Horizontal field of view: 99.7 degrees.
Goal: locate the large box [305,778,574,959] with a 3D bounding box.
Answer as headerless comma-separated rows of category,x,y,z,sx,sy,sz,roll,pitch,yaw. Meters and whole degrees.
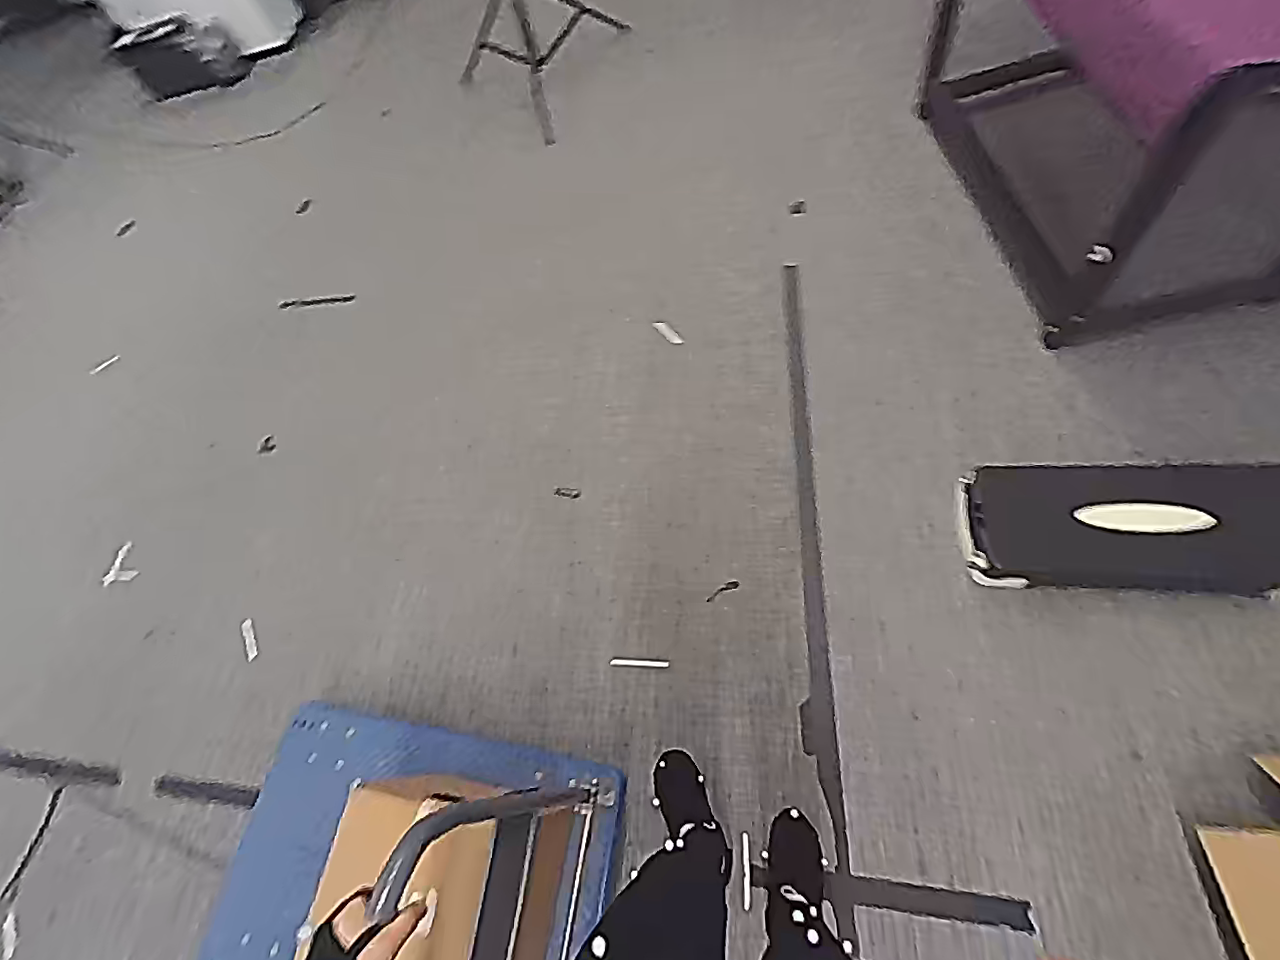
large box,-0.345,0.790,0.967,0.320,0.320,0.408,4,65,15
